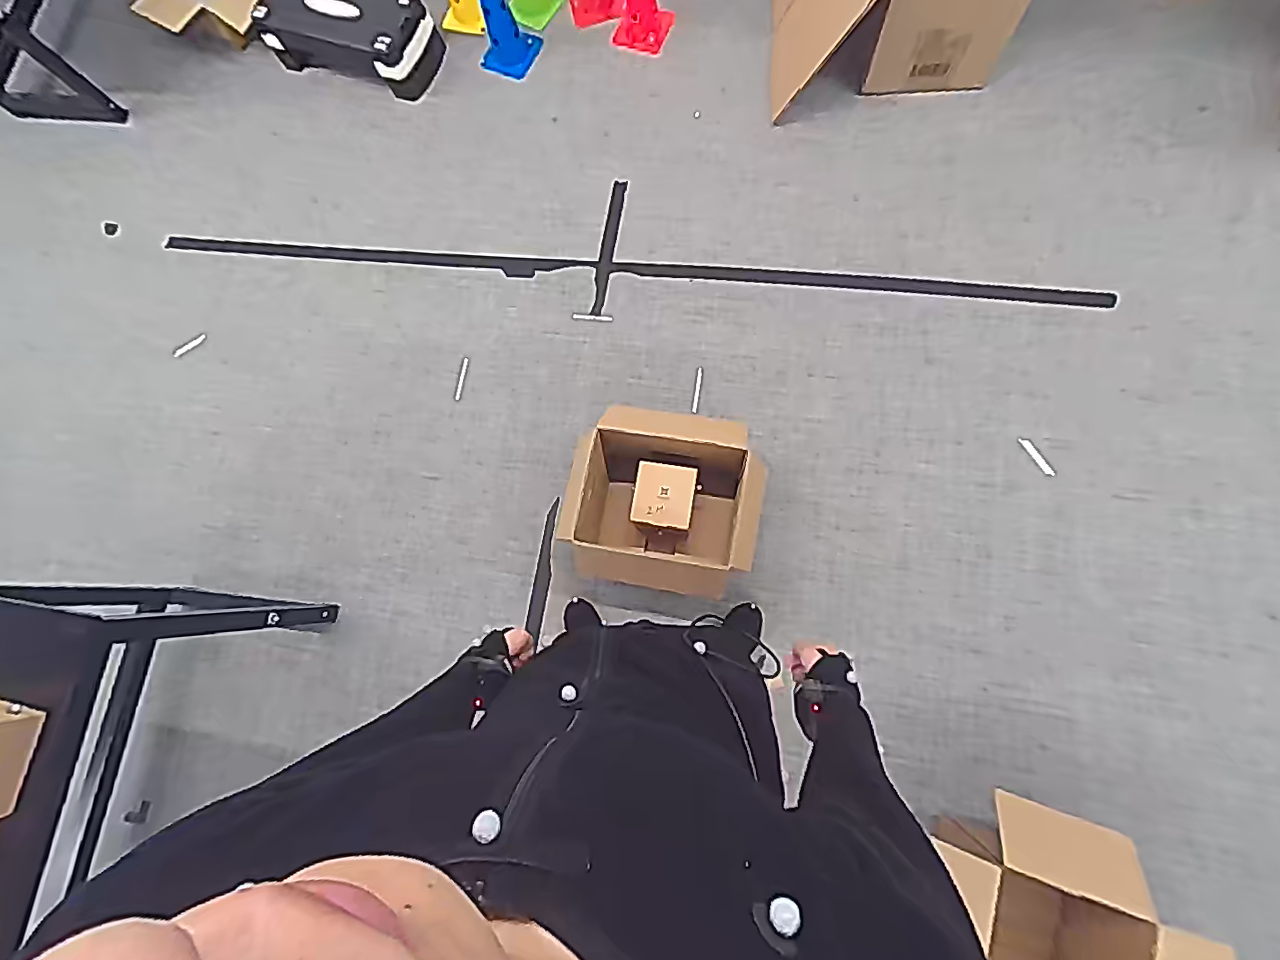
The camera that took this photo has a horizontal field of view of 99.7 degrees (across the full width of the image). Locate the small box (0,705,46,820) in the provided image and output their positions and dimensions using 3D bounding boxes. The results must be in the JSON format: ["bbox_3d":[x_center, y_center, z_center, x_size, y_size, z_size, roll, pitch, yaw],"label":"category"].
[{"bbox_3d":[-1.182,0.490,0.913,0.168,0.176,0.179,9,81,10],"label":"small box"}]
